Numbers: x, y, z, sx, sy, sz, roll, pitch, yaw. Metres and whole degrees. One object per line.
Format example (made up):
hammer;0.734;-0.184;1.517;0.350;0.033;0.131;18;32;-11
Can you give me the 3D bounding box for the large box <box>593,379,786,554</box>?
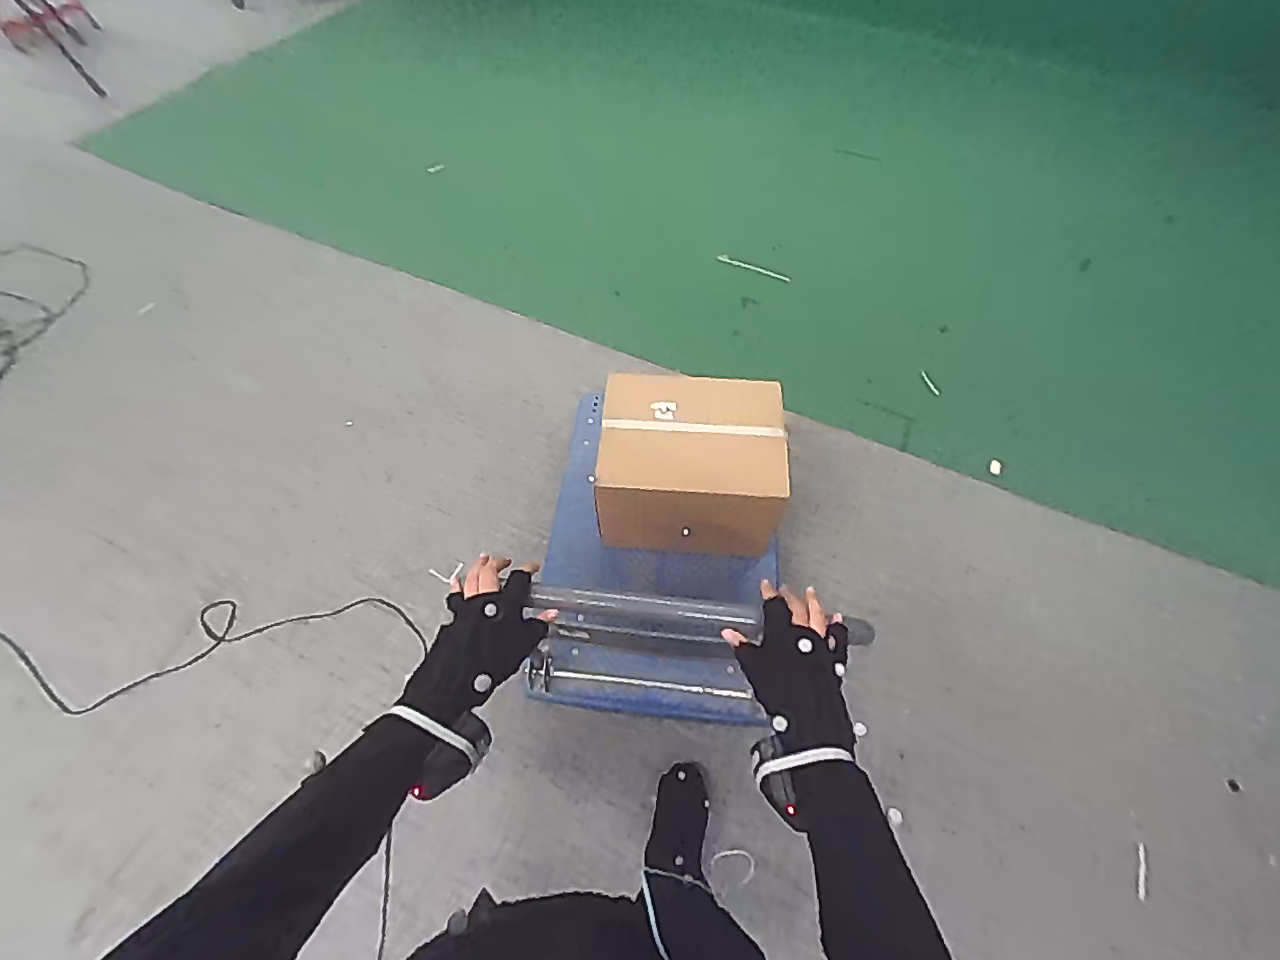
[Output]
large box;0.114;-0.024;1.314;0.408;0.320;0.320;3;58;3
